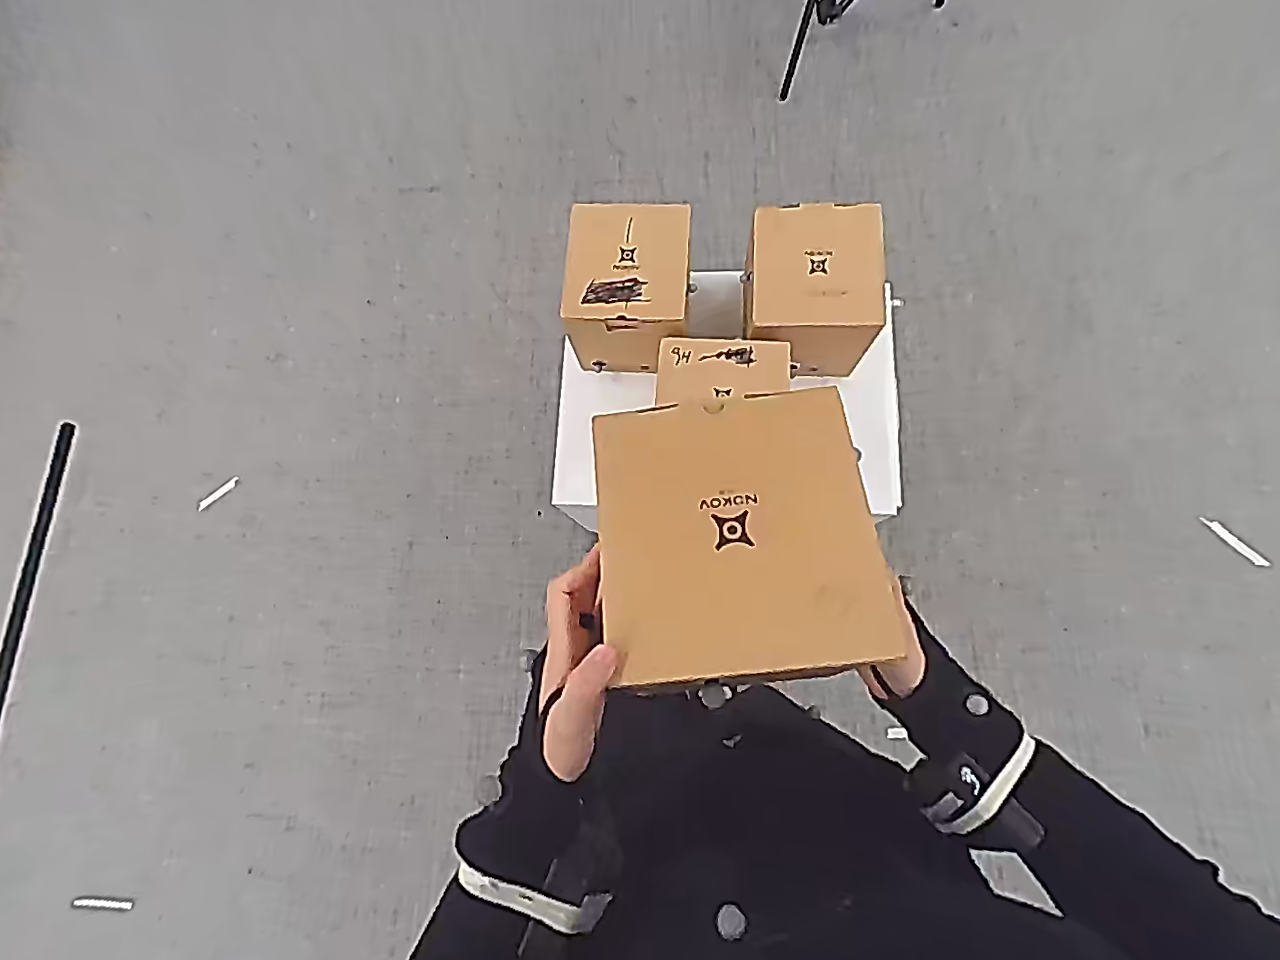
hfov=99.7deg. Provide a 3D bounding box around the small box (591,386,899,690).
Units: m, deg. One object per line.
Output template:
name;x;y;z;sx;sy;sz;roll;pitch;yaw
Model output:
small box;0.061;0.057;0.400;0.168;0.176;0.179;-6;65;2

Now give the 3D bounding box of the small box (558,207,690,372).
small box;-0.014;-0.269;0.794;0.168;0.176;0.179;3;77;5

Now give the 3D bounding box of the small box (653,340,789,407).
small box;0.104;-0.072;0.741;0.168;0.176;0.179;4;78;5

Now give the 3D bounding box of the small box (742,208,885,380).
small box;0.235;-0.257;0.773;0.168;0.176;0.179;1;79;6
